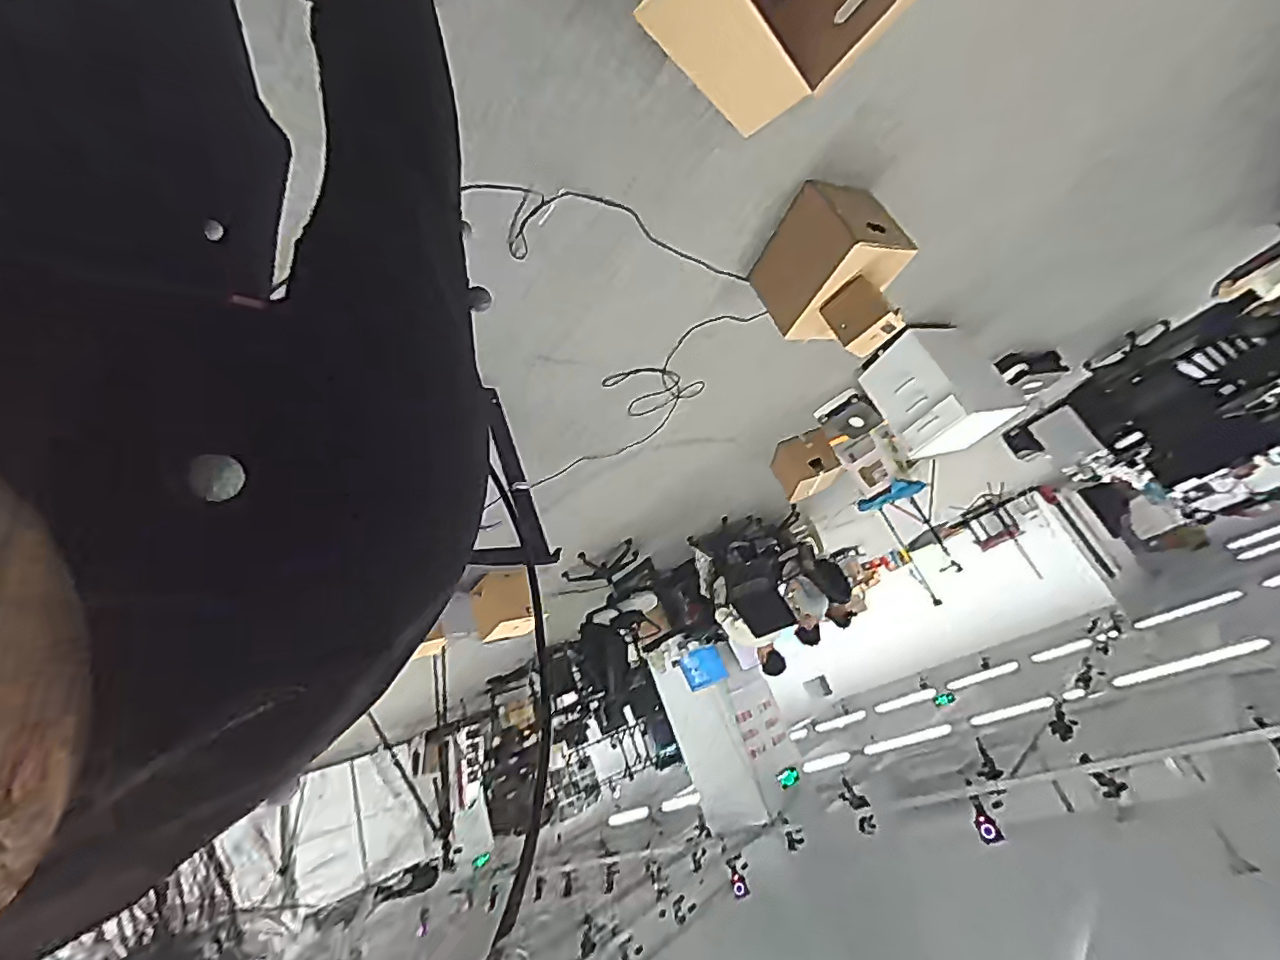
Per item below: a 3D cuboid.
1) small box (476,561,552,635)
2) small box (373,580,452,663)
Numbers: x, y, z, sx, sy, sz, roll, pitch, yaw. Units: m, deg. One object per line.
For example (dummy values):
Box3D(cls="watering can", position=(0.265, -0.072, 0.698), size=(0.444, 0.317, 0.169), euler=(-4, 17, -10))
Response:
Box3D(cls="small box", position=(-0.410, 0.374, 1.727), size=(0.168, 0.176, 0.179), euler=(-2, 149, -41))
Box3D(cls="small box", position=(-0.659, 0.402, 1.556), size=(0.179, 0.176, 0.168), euler=(-8, 152, -31))
